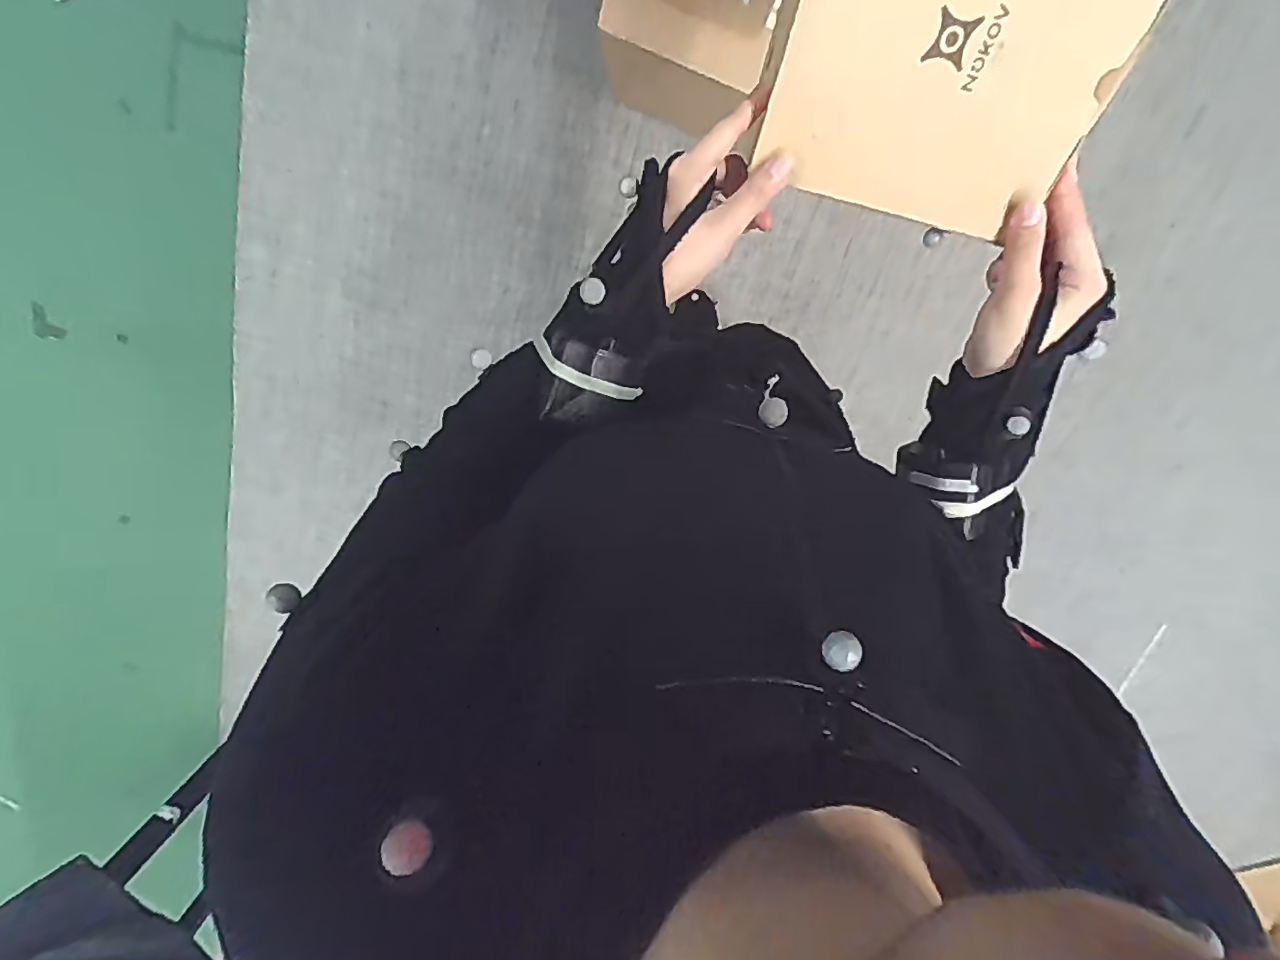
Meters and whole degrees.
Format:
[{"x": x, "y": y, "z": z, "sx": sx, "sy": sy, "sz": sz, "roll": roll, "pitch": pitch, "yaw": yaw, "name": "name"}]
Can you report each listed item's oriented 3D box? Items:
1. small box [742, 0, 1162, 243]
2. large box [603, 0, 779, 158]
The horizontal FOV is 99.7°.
[{"x": 0.172, "y": -0.273, "z": 0.346, "sx": 0.179, "sy": 0.176, "sz": 0.168, "roll": 13, "pitch": 126, "yaw": -3, "name": "small box"}, {"x": 0.176, "y": -0.808, "z": 0.956, "sx": 0.408, "sy": 0.320, "sz": 0.320, "roll": 20, "pitch": 108, "yaw": -6, "name": "large box"}]
